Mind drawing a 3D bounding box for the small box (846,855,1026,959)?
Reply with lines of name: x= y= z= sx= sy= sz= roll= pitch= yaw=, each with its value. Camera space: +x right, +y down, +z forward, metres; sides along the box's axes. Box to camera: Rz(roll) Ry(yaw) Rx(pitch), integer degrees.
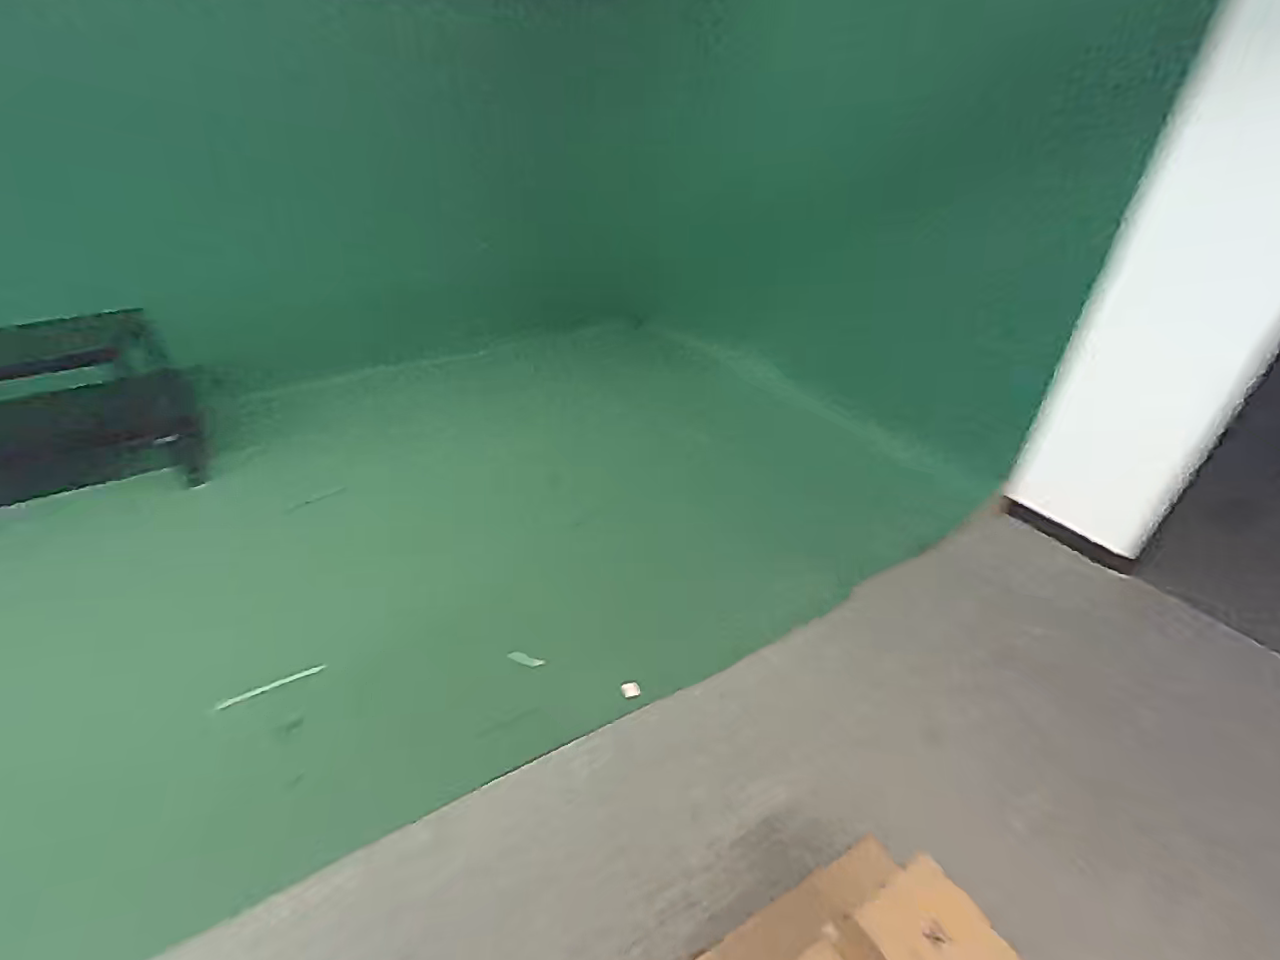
small box: x=0.457 y=0.757 z=0.861 sx=0.179 sy=0.176 sz=0.168 roll=-20 pitch=38 yaw=-24
